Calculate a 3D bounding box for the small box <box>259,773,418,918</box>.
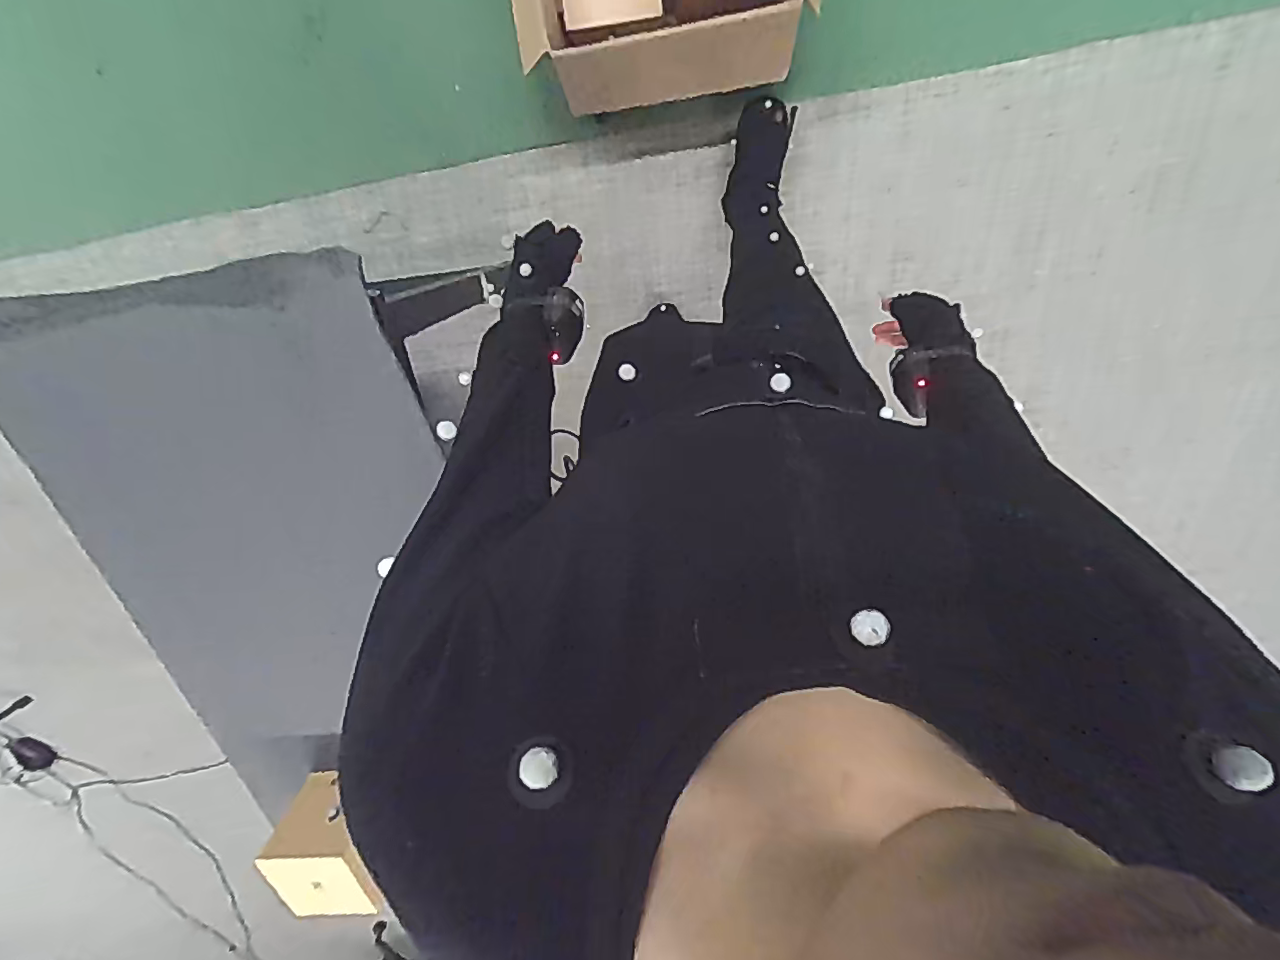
[{"bbox_3d":[-0.548,0.674,1.010,0.168,0.176,0.179,-7,116,7],"label":"small box"}]
